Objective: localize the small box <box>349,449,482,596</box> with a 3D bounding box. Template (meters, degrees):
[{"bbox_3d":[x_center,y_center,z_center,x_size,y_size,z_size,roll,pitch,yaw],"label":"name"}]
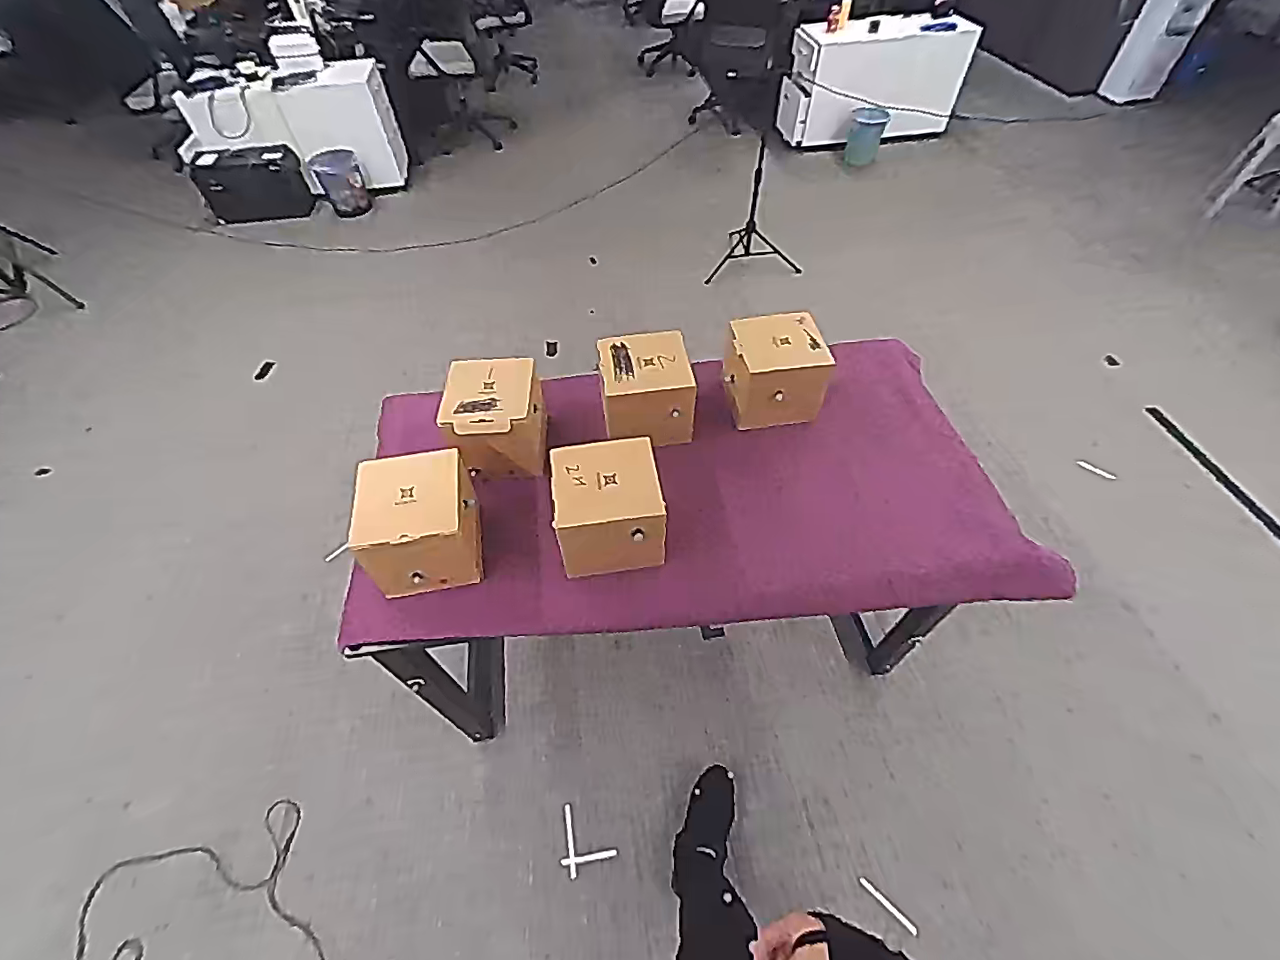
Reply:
[{"bbox_3d":[-0.374,0.075,0.930,0.168,0.176,0.179,-10,53,-8],"label":"small box"}]

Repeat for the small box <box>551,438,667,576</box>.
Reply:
[{"bbox_3d":[-0.053,0.050,0.940,0.179,0.176,0.168,-8,53,-4],"label":"small box"}]

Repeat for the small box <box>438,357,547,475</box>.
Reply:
[{"bbox_3d":[-0.283,-0.120,1.079,0.168,0.176,0.179,-3,53,-1],"label":"small box"}]

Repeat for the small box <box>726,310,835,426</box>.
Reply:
[{"bbox_3d":[0.283,-0.231,1.141,0.179,0.176,0.168,-8,55,-3],"label":"small box"}]
